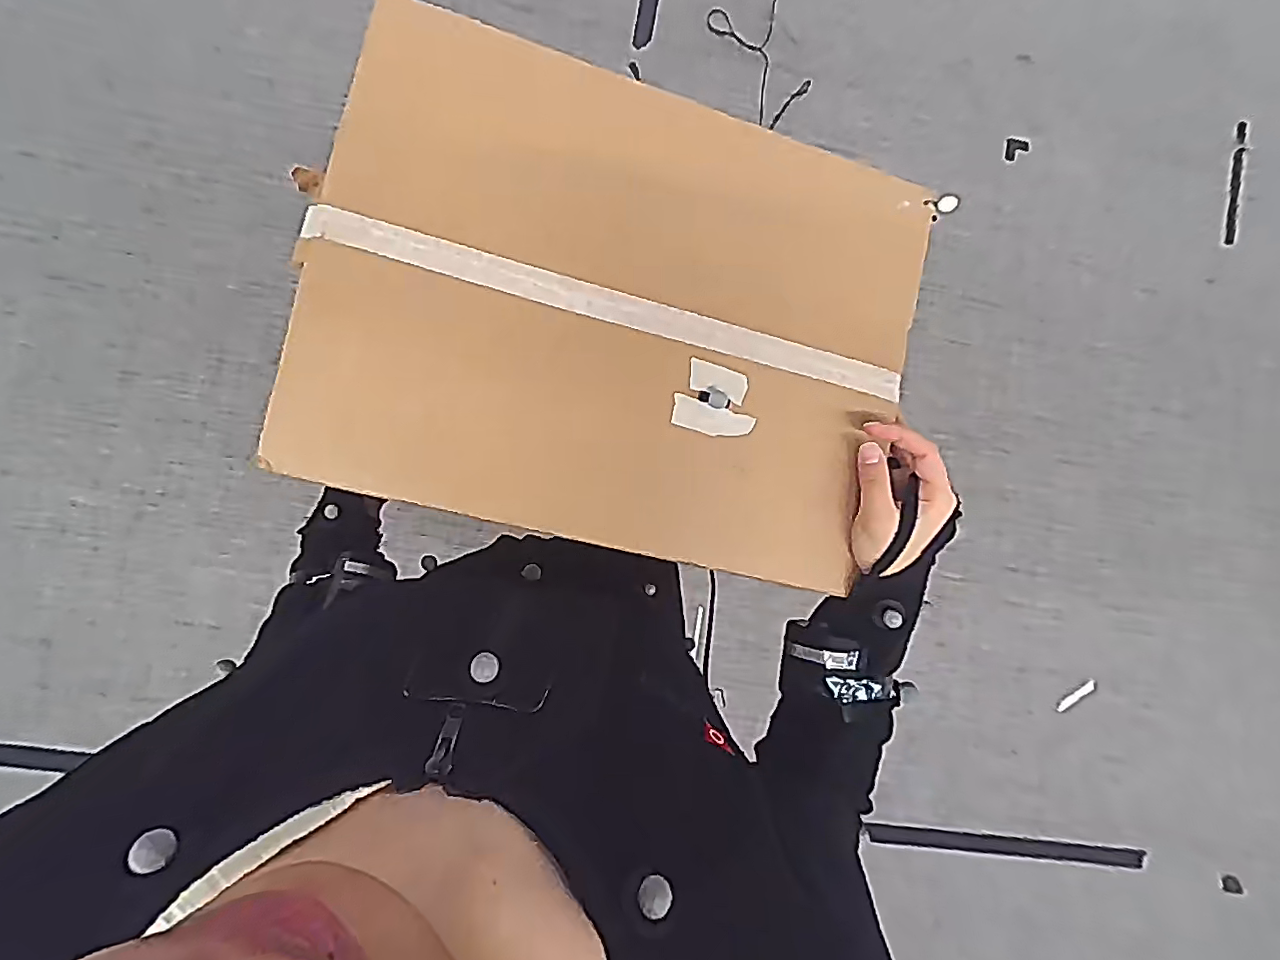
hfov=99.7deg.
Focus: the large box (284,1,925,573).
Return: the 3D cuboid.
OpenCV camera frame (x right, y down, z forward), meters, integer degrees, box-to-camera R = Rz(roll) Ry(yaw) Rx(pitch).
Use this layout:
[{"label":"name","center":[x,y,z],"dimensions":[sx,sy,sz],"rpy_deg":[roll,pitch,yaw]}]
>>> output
[{"label":"large box","center":[-0.029,-0.117,0.519],"dimensions":[0.408,0.320,0.320],"rpy_deg":[14,88,-11]}]
